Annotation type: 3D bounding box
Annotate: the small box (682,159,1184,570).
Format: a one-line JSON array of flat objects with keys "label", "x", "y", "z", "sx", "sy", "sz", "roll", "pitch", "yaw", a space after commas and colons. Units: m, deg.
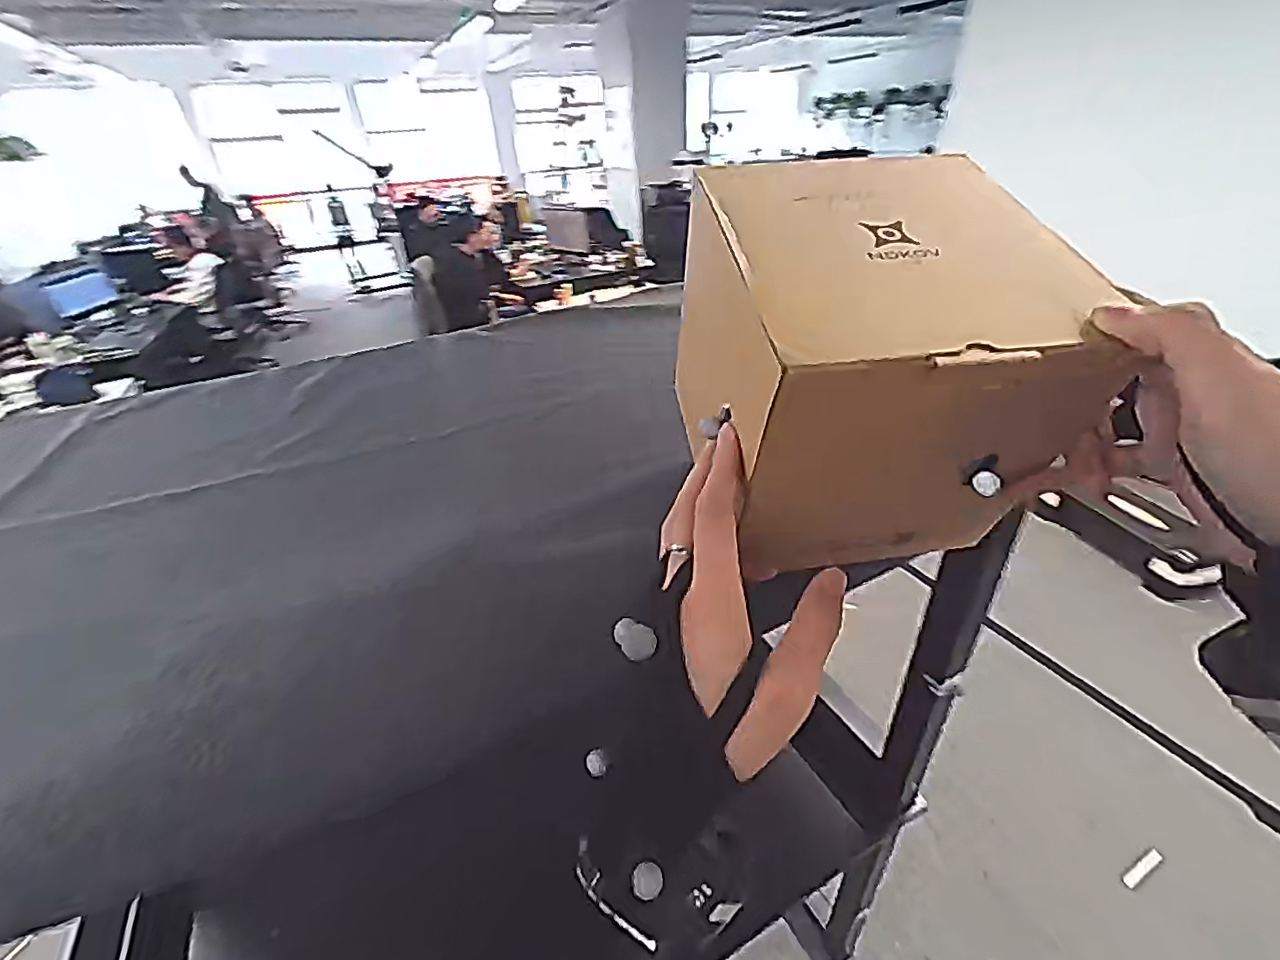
[{"label": "small box", "x": 0.123, "y": -0.059, "z": 0.318, "sx": 0.168, "sy": 0.176, "sz": 0.179, "roll": -6, "pitch": 53, "yaw": -6}]
